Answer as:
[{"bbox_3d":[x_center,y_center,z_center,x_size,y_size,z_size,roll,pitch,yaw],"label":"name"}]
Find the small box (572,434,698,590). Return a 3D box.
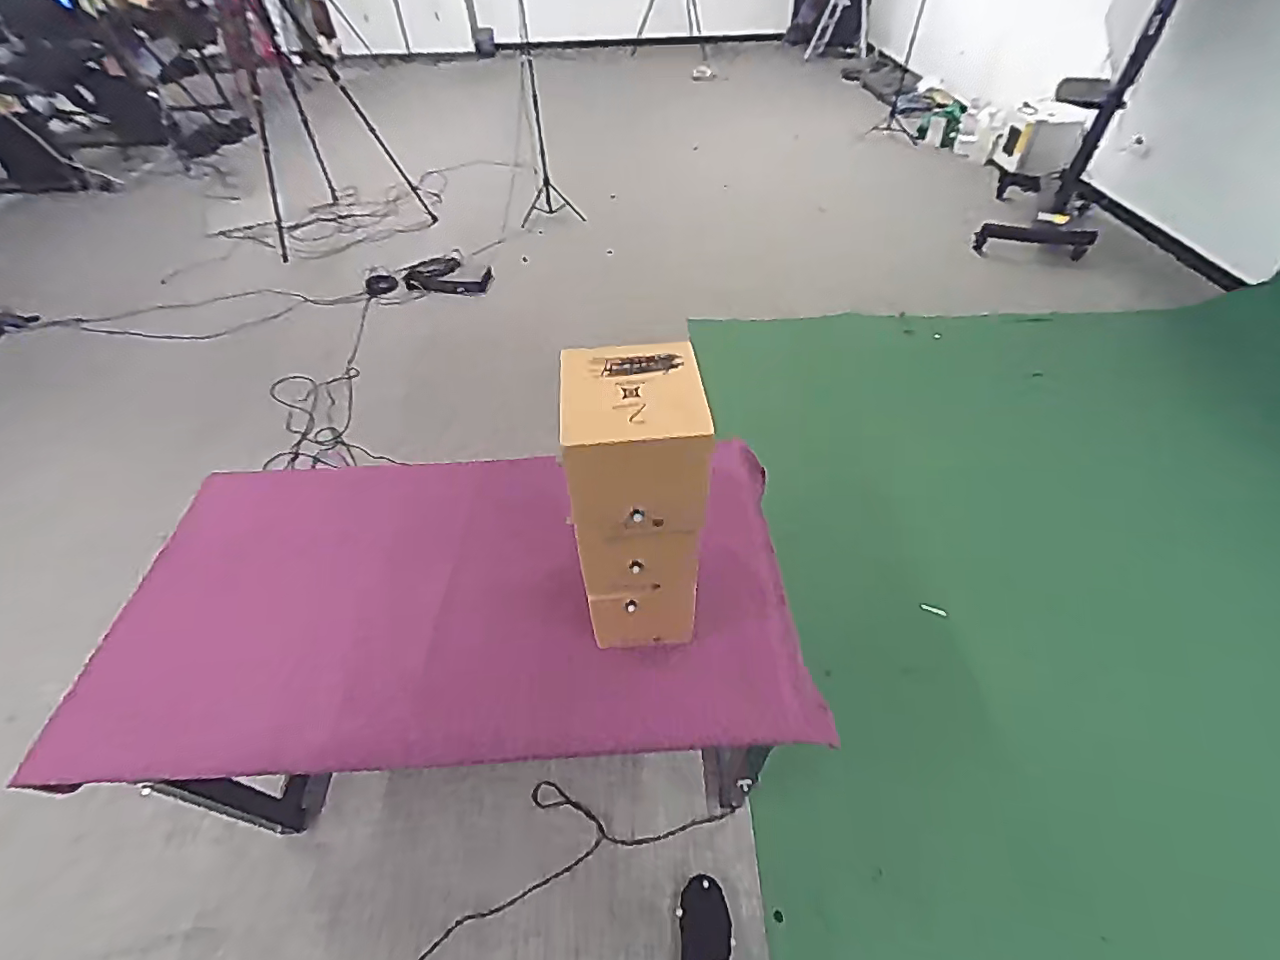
[{"bbox_3d":[-0.004,0.053,0.804,0.168,0.176,0.179,-2,47,0],"label":"small box"}]

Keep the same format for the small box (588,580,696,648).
[{"bbox_3d":[0.001,0.166,0.925,0.168,0.176,0.179,-4,47,0],"label":"small box"}]
